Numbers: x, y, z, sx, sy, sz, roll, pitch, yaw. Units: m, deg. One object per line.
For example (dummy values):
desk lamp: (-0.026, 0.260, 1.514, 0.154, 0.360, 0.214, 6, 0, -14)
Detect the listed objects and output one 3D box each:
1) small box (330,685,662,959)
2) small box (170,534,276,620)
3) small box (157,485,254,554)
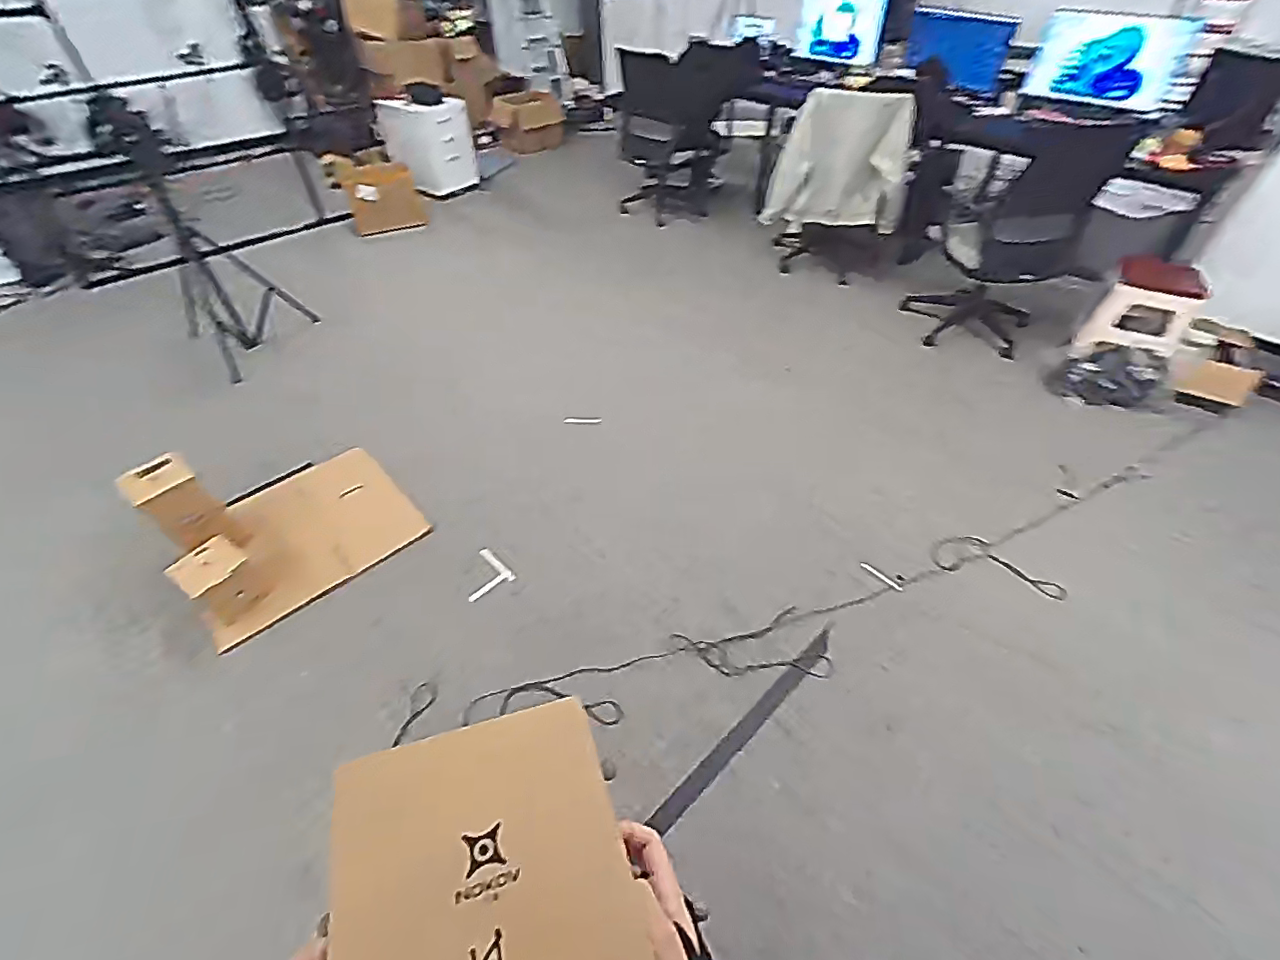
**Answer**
small box: (-0.099, 0.278, 0.370, 0.168, 0.176, 0.179, -10, 44, -19)
small box: (-1.280, 0.307, 1.674, 0.179, 0.176, 0.168, 26, 52, 22)
small box: (-1.462, 0.155, 1.826, 0.179, 0.176, 0.168, 29, 53, 25)
